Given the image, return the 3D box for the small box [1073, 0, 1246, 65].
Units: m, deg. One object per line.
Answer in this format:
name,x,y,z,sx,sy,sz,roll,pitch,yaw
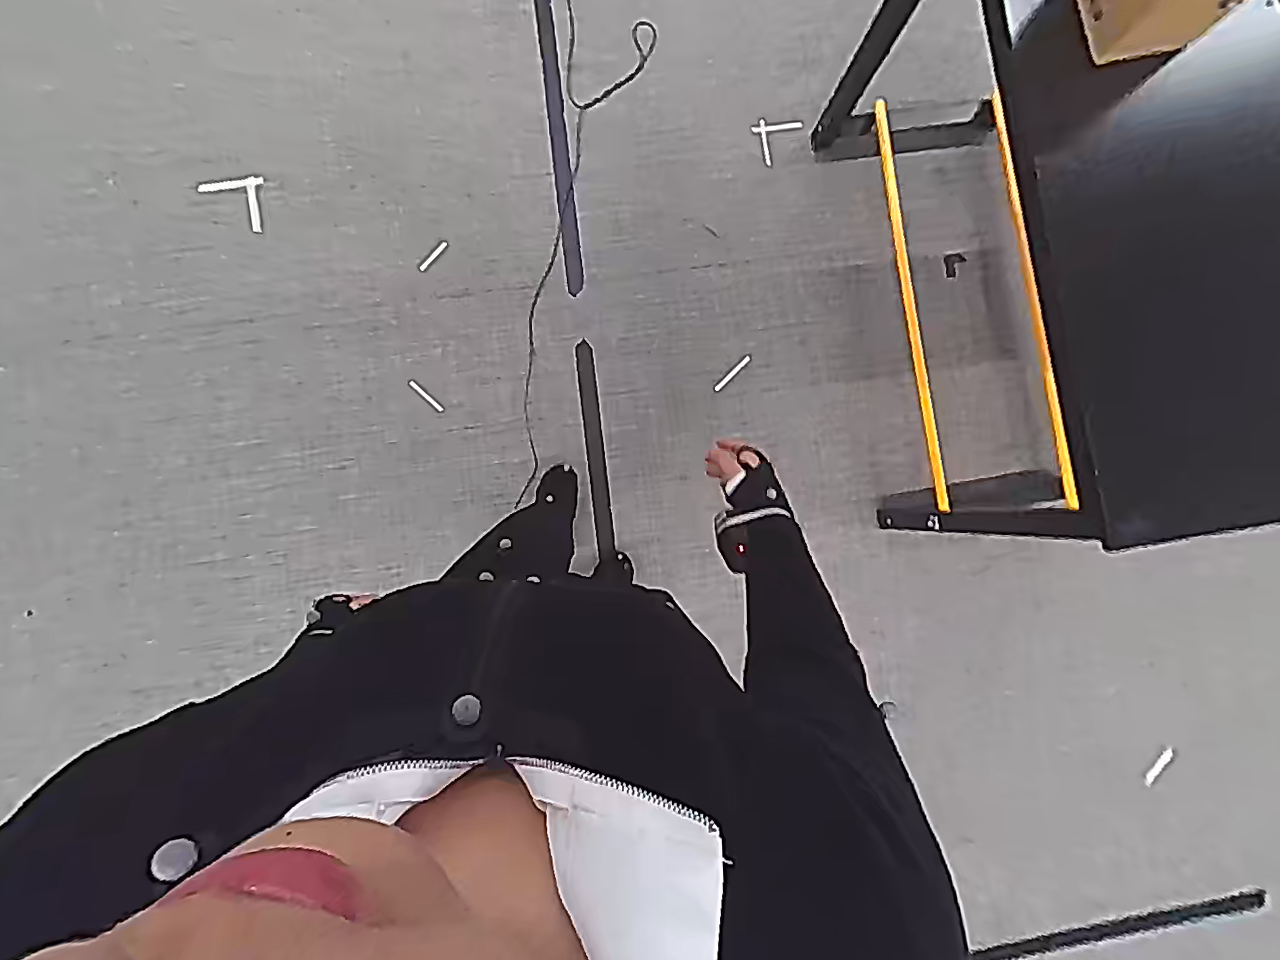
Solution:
small box,0.797,-0.766,0.799,0.179,0.176,0.168,-14,87,-4
